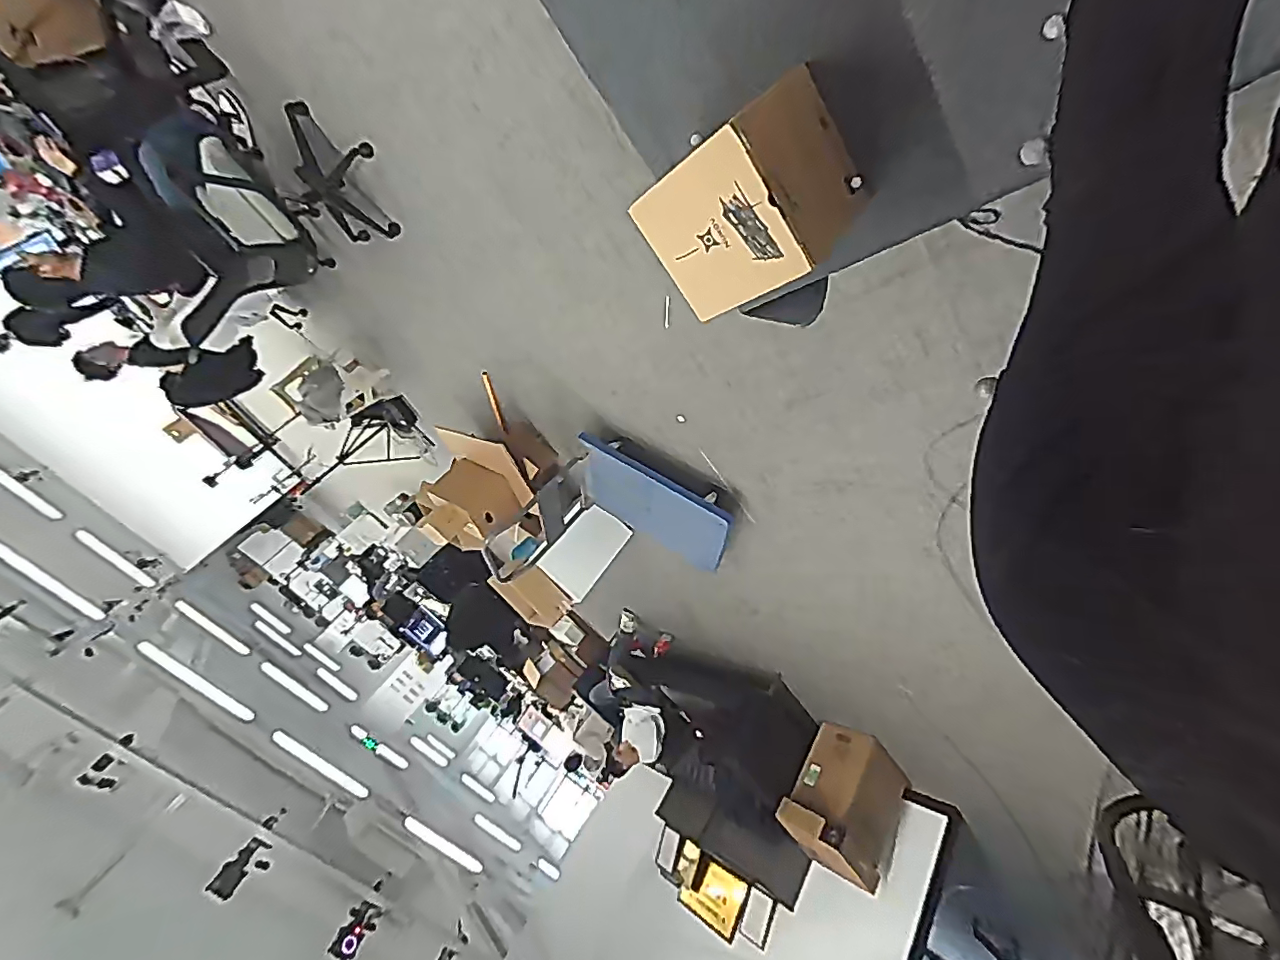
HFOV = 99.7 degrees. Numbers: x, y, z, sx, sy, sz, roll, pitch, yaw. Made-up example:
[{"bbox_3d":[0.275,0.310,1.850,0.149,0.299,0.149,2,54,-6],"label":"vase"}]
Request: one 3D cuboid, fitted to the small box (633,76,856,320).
[{"bbox_3d":[0.131,-0.327,0.641,0.179,0.176,0.168,-8,127,54],"label":"small box"}]
